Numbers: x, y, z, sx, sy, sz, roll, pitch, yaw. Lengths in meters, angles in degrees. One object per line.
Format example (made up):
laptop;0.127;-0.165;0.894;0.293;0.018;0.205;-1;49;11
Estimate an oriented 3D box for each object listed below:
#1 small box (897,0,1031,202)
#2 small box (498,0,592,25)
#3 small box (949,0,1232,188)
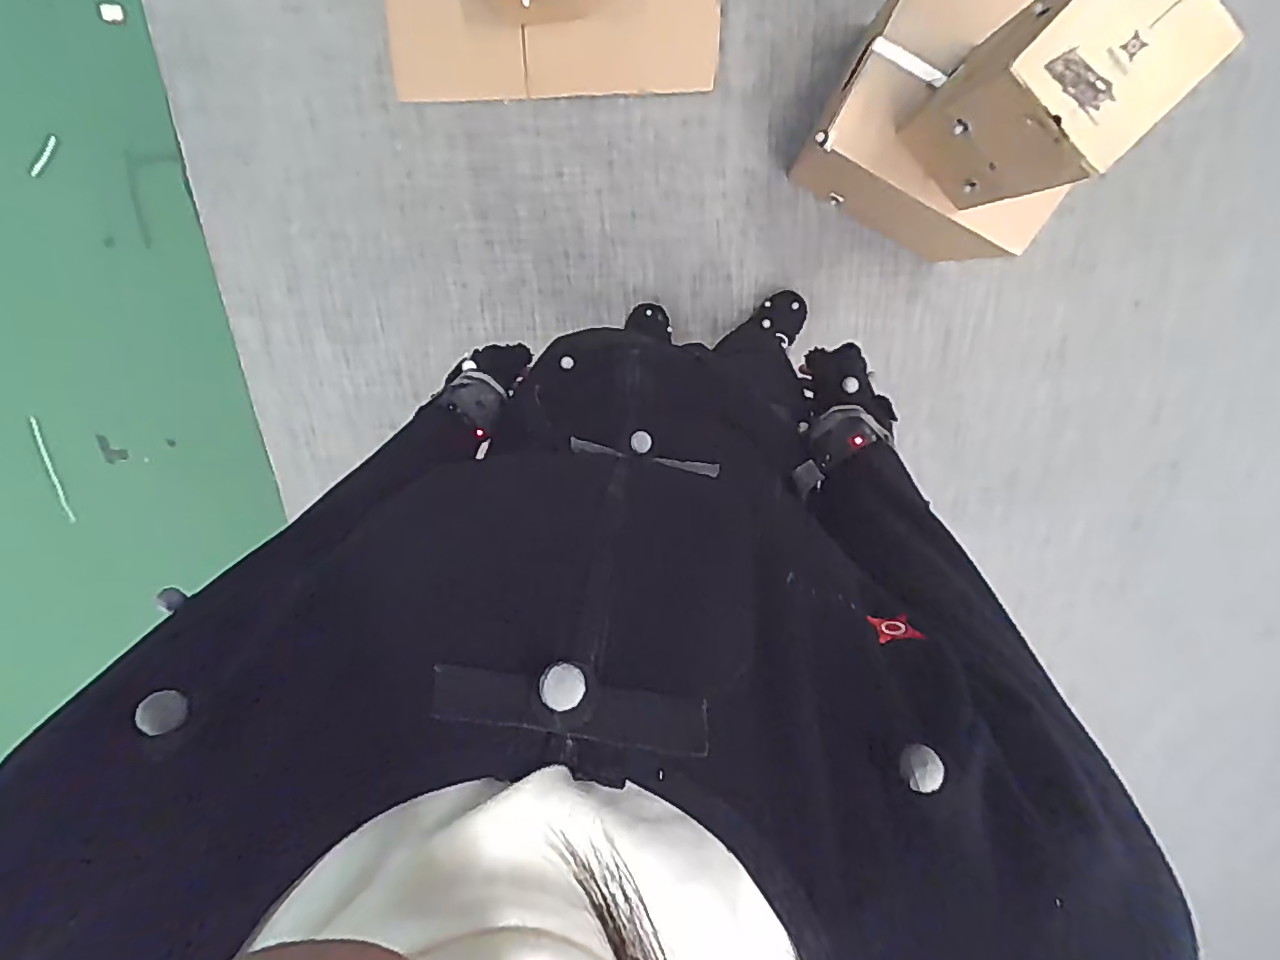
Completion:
small box;0.530;-0.546;0.810;0.179;0.176;0.168;41;107;-9
small box;-0.197;-0.998;1.016;0.179;0.176;0.168;-3;107;7
small box;0.514;-0.489;0.657;0.168;0.176;0.179;38;108;-10
